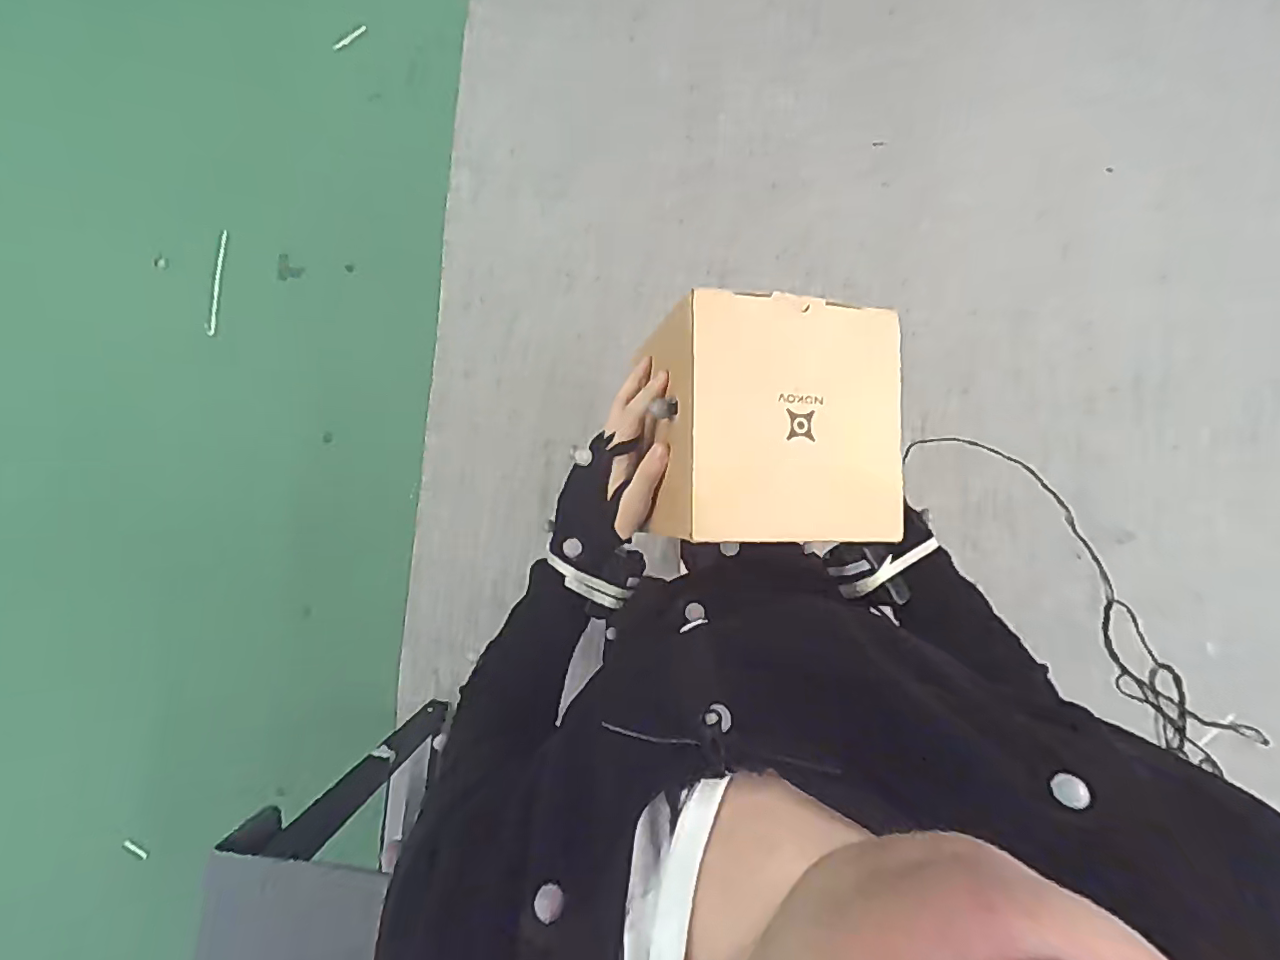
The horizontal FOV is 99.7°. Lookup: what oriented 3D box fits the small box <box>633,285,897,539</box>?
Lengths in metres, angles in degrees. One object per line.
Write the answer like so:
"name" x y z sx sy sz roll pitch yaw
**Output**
"small box" 0.092 -0.042 0.463 0.168 0.176 0.179 1 86 -14
